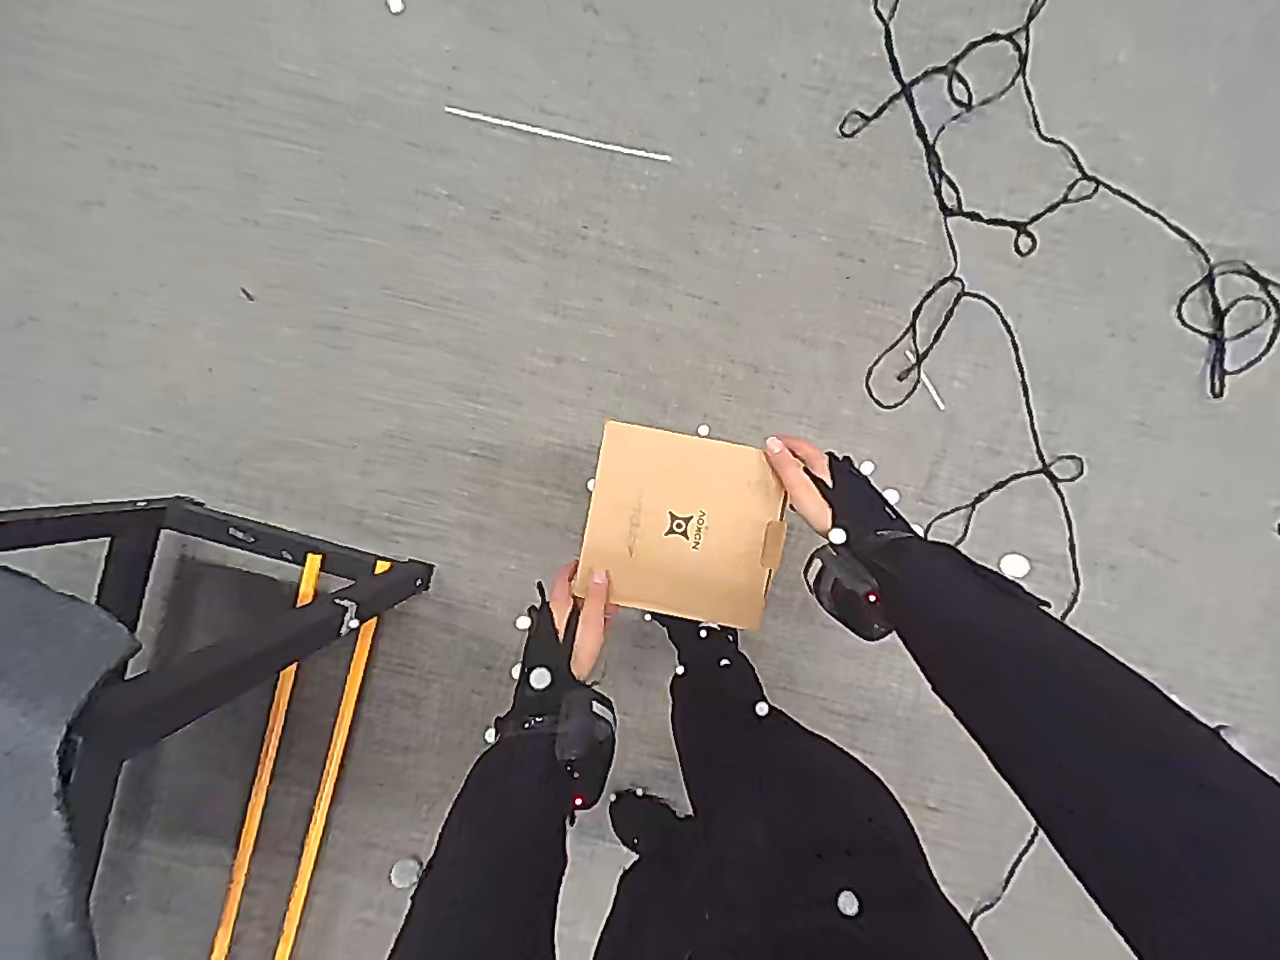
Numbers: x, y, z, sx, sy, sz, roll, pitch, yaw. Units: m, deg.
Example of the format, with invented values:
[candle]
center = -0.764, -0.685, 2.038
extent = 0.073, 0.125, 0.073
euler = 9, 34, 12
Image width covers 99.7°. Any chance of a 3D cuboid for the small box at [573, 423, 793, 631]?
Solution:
[small box]
center = 0.040, 0.040, 0.568
extent = 0.179, 0.176, 0.168
euler = 11, 92, 2
